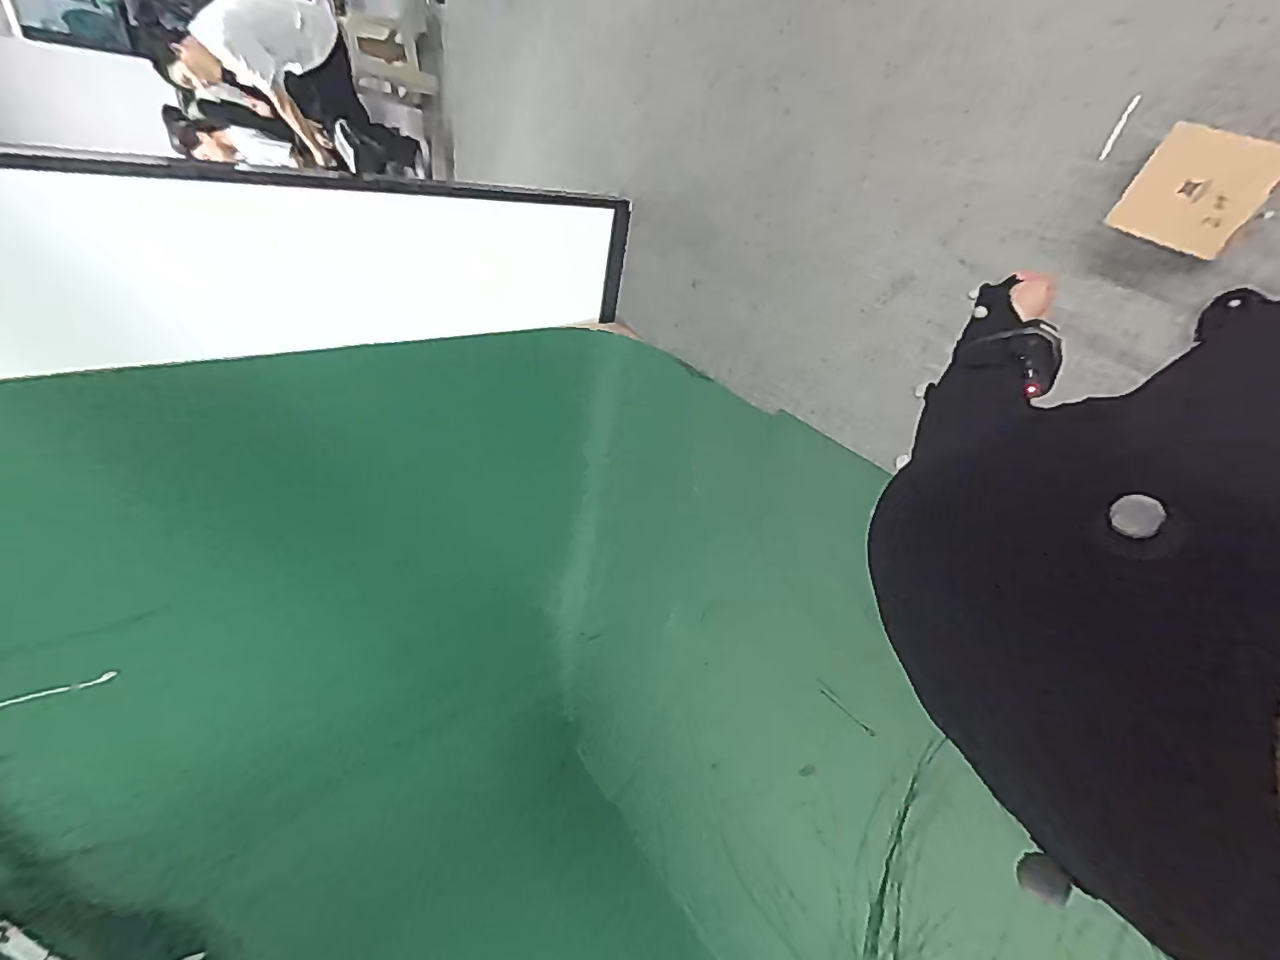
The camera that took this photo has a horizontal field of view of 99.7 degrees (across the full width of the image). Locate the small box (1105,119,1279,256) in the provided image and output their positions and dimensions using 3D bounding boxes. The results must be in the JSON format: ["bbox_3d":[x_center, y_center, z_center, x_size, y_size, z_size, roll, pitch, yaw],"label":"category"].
[{"bbox_3d":[0.981,-0.503,0.945,0.179,0.176,0.168,46,136,31],"label":"small box"}]
